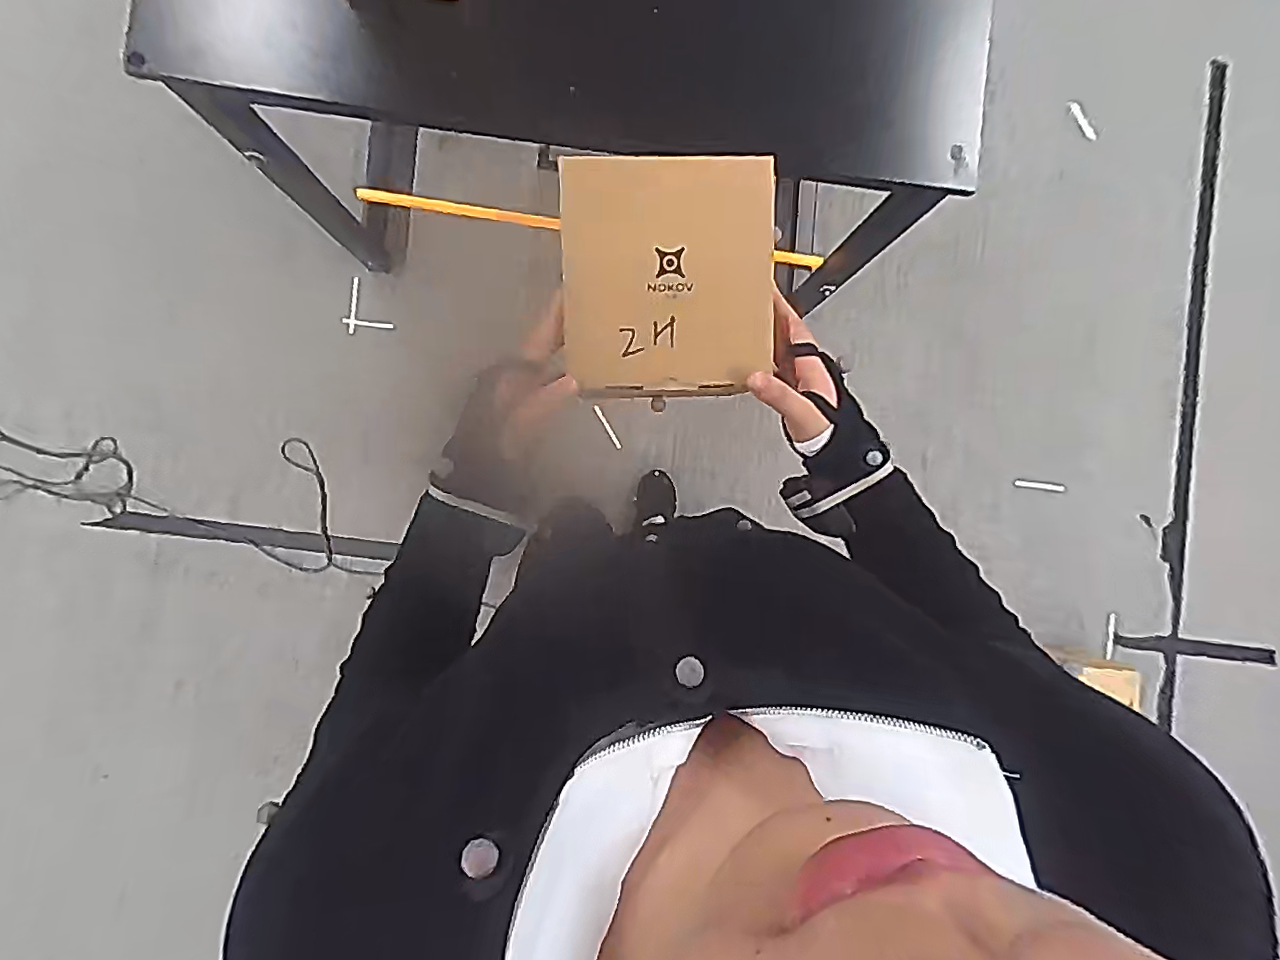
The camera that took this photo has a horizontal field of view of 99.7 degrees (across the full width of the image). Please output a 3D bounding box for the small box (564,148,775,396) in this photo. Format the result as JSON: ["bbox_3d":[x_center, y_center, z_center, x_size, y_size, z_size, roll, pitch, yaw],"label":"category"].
[{"bbox_3d":[0.020,-0.172,0.498,0.168,0.176,0.179,-1,95,-1],"label":"small box"}]

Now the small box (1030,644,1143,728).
[{"bbox_3d":[1.223,0.561,1.492,0.179,0.176,0.168,6,89,-2],"label":"small box"}]
